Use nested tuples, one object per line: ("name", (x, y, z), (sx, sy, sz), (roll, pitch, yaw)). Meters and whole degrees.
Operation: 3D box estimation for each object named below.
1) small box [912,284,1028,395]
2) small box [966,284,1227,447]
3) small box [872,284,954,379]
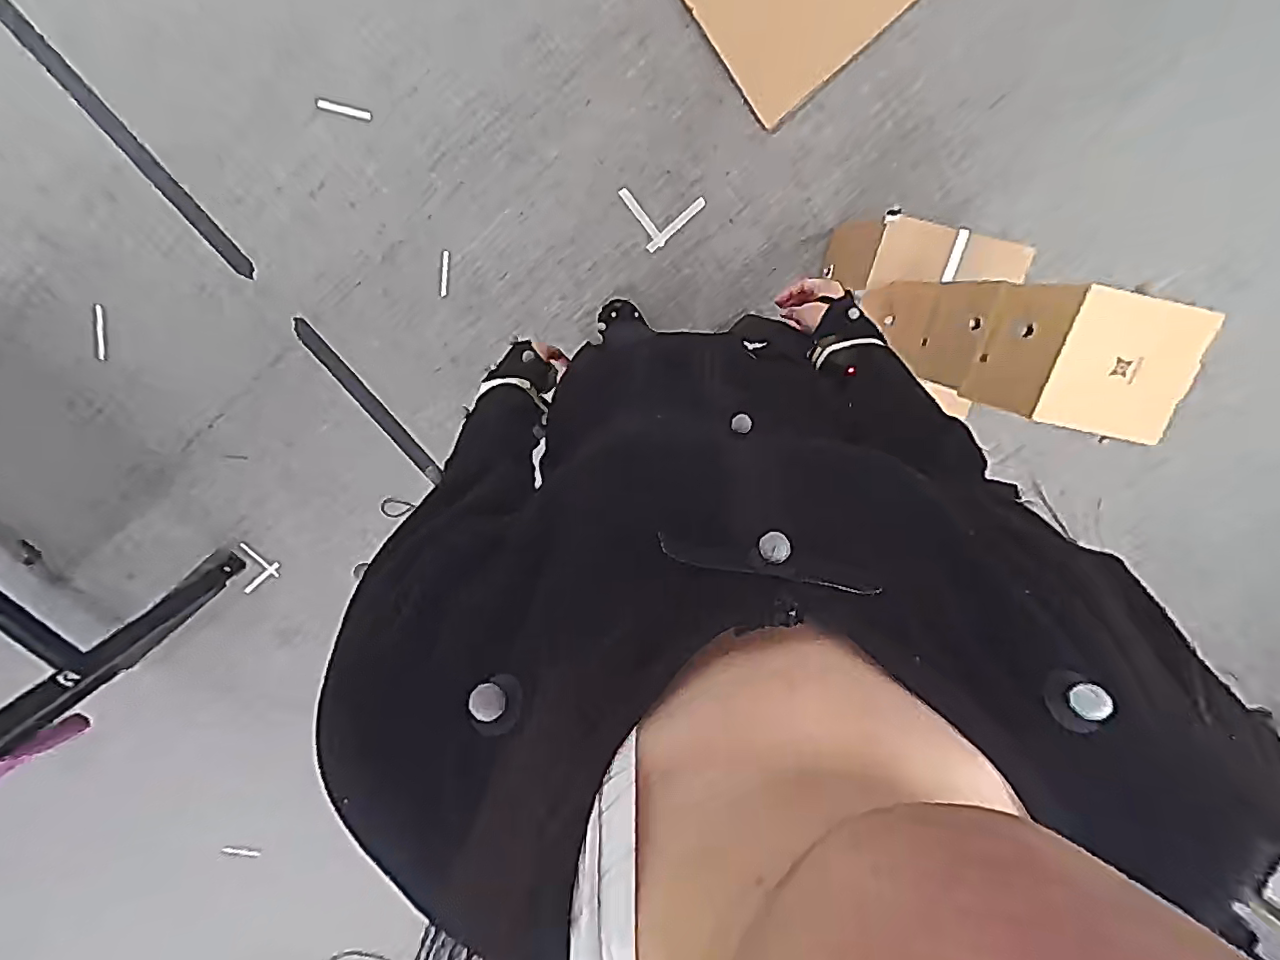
("small box", (0.587, -0.217, 0.878), (0.179, 0.176, 0.168), (11, 109, -5))
("small box", (0.586, -0.159, 0.726), (0.179, 0.176, 0.168), (11, 109, -5))
("small box", (0.582, -0.274, 1.032), (0.179, 0.176, 0.168), (11, 109, -4))
